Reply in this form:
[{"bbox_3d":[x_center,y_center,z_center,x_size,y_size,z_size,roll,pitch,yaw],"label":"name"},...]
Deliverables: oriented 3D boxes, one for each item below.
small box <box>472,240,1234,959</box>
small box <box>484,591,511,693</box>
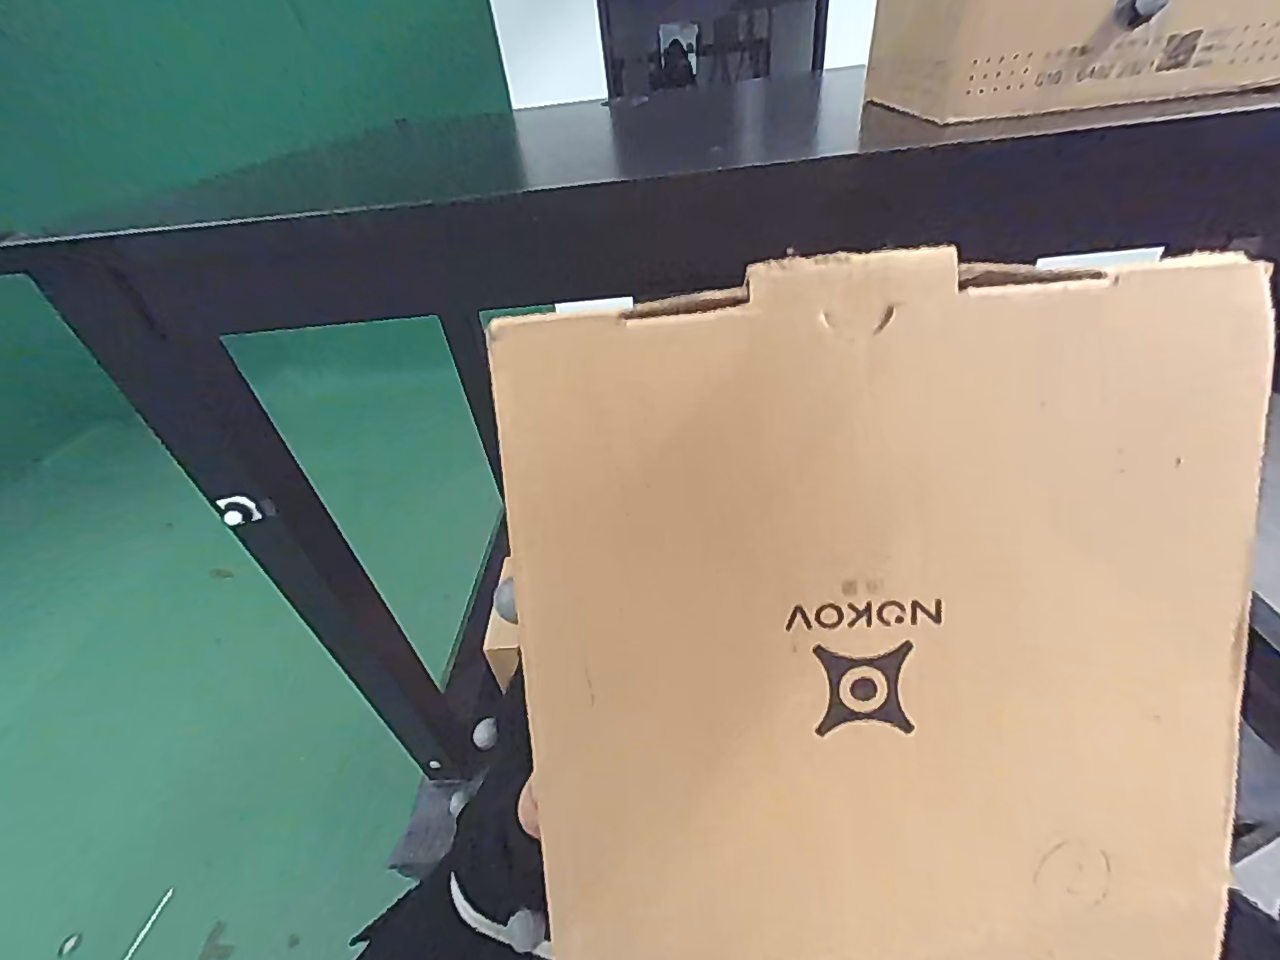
[{"bbox_3d":[0.053,0.029,0.209,0.168,0.179,0.176,-4,7,4],"label":"small box"},{"bbox_3d":[-0.127,0.235,0.852,0.168,0.176,0.179,-5,38,4],"label":"small box"}]
